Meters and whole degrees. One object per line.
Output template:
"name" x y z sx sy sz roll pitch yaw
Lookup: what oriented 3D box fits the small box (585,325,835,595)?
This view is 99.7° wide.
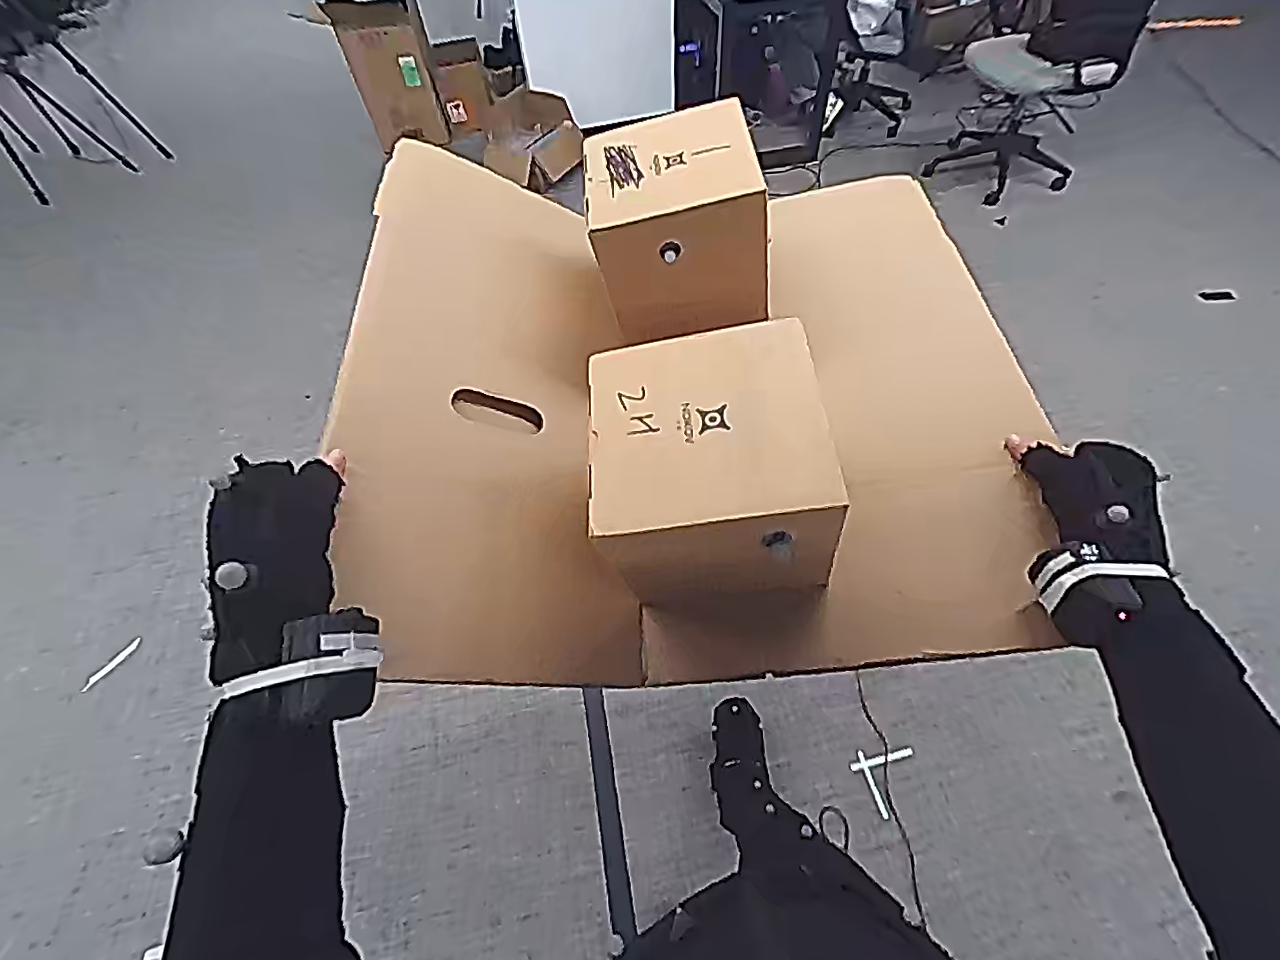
"small box" 0.059 -0.005 0.479 0.179 0.176 0.168 -9 60 10

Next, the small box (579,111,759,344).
"small box" 0.038 -0.283 0.636 0.179 0.176 0.168 -10 60 8
